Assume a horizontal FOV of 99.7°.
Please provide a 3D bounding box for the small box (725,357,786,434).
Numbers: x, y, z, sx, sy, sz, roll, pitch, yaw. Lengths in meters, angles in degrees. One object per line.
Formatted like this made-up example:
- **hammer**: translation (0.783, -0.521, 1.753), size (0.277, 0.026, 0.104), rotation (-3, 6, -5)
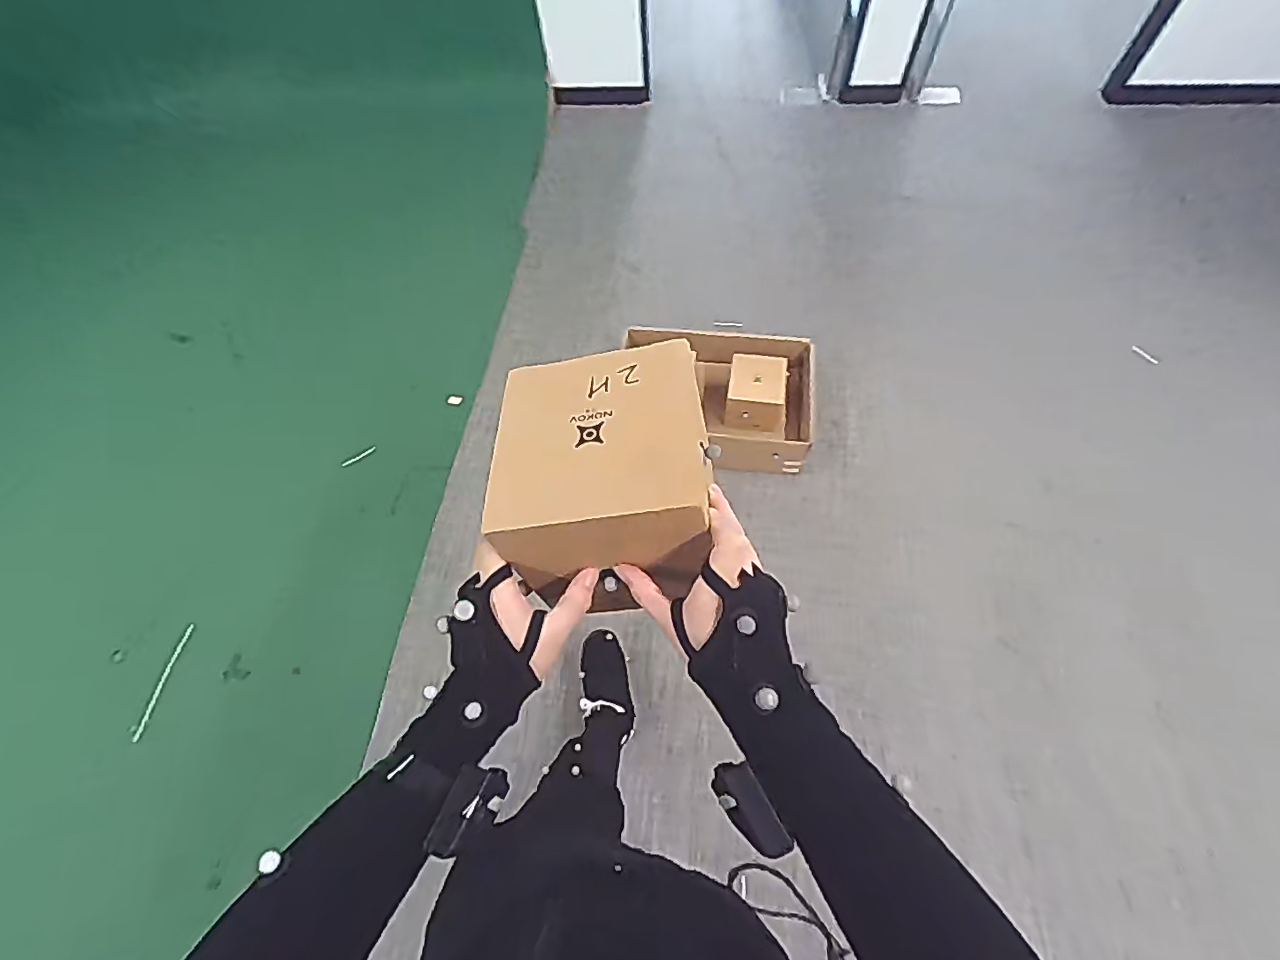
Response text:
- **small box**: translation (0.364, -0.263, 1.714), size (0.168, 0.176, 0.179), rotation (7, 63, 8)

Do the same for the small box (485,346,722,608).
- **small box**: translation (-0.019, 0.008, 0.498), size (0.168, 0.176, 0.179), rotation (-7, 53, 10)
